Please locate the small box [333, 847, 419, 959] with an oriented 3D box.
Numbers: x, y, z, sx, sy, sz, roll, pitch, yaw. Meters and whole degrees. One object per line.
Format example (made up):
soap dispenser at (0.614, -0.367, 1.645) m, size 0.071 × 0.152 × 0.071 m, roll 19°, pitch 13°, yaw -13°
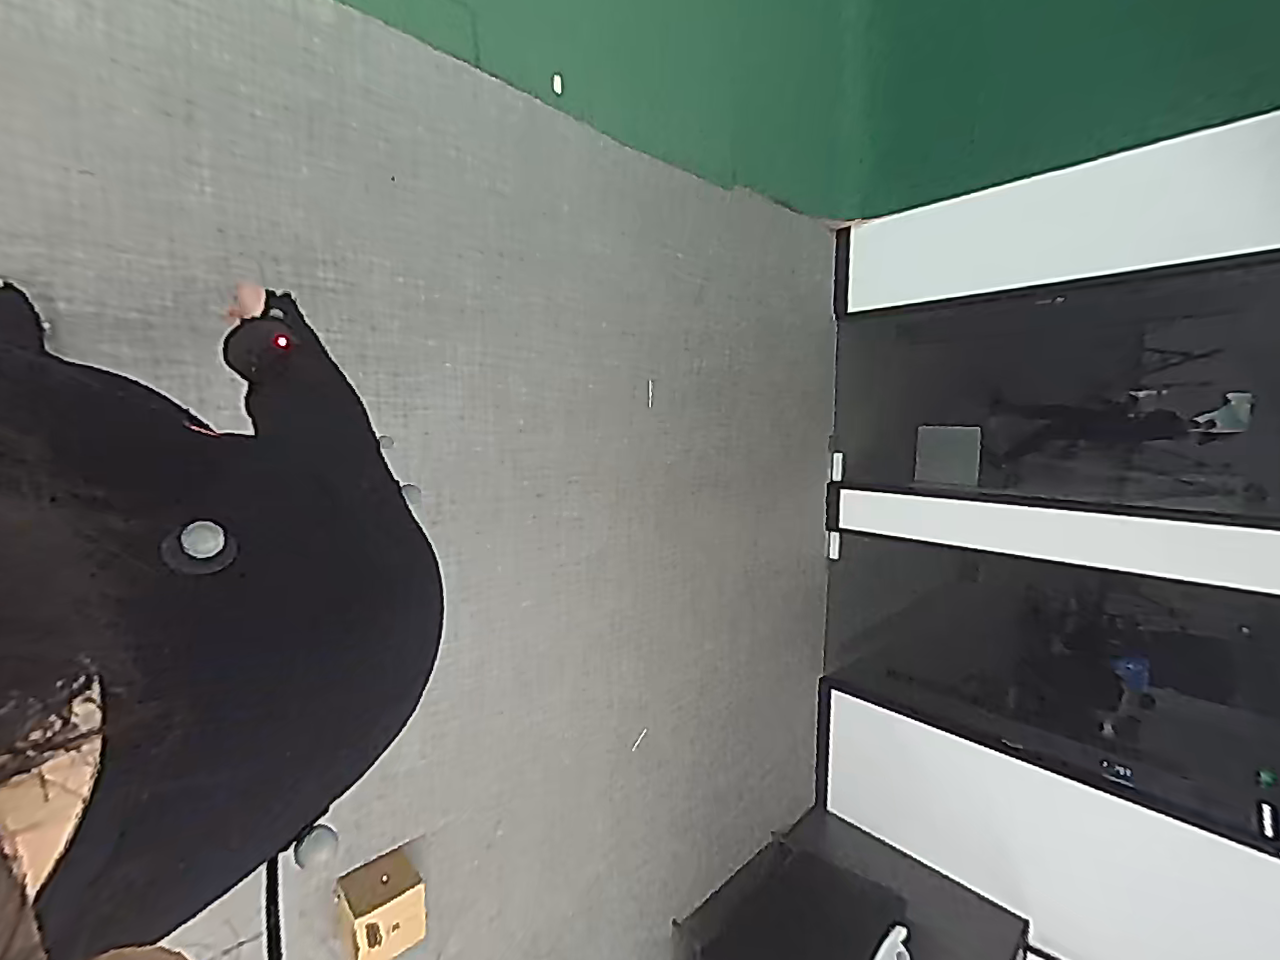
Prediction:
small box at (-0.721, 1.156, 1.470) m, size 0.179 × 0.176 × 0.168 m, roll -4°, pitch 98°, yaw -45°
